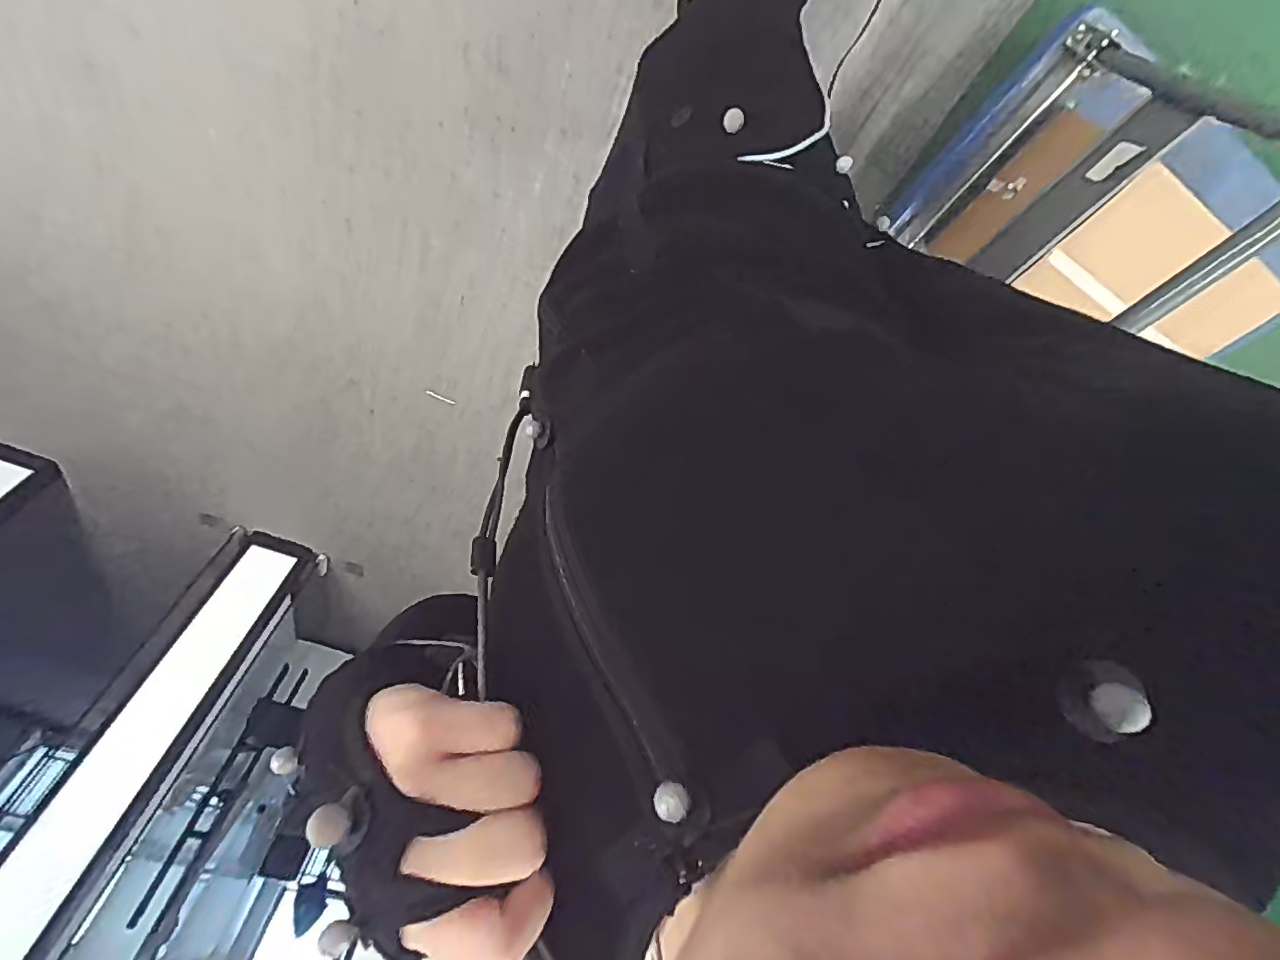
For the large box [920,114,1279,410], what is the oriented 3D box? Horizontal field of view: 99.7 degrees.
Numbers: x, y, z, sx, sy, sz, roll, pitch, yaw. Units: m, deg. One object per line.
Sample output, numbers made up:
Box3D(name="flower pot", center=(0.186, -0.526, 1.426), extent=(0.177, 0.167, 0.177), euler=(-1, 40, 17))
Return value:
Box3D(name="large box", center=(0.842, -0.413, 1.051), extent=(0.408, 0.320, 0.320), euler=(25, 135, -17))
